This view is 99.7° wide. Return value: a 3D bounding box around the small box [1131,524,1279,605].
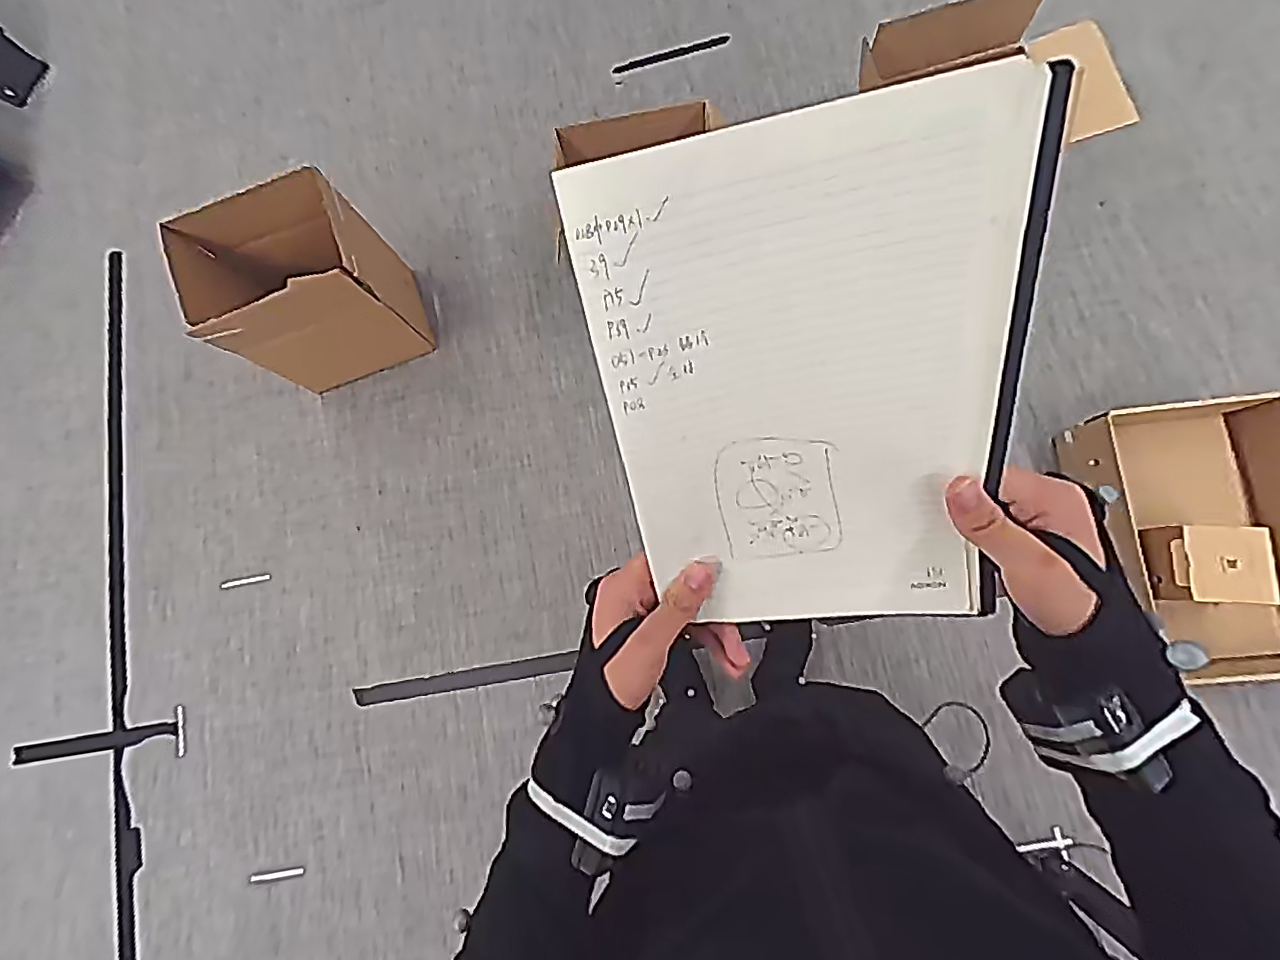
[{"bbox_3d":[1.270,0.195,1.232,0.179,0.176,0.168,2,80,7],"label":"small box"}]
